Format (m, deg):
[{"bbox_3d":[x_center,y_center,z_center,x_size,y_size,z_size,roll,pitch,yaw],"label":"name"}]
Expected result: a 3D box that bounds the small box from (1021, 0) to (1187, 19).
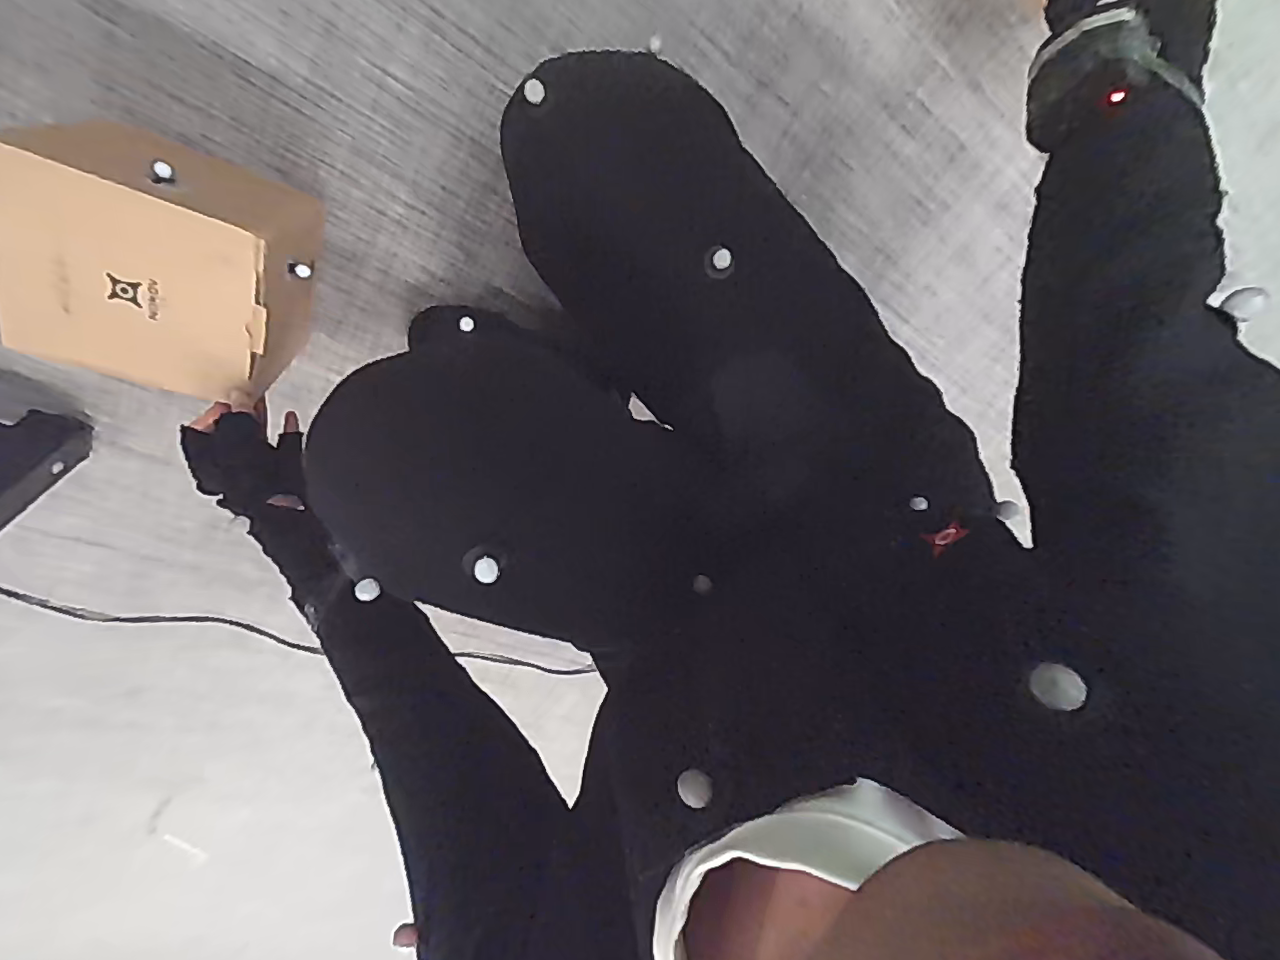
[{"bbox_3d":[0.410,-0.516,0.429,0.168,0.176,0.179,29,117,-29],"label":"small box"}]
